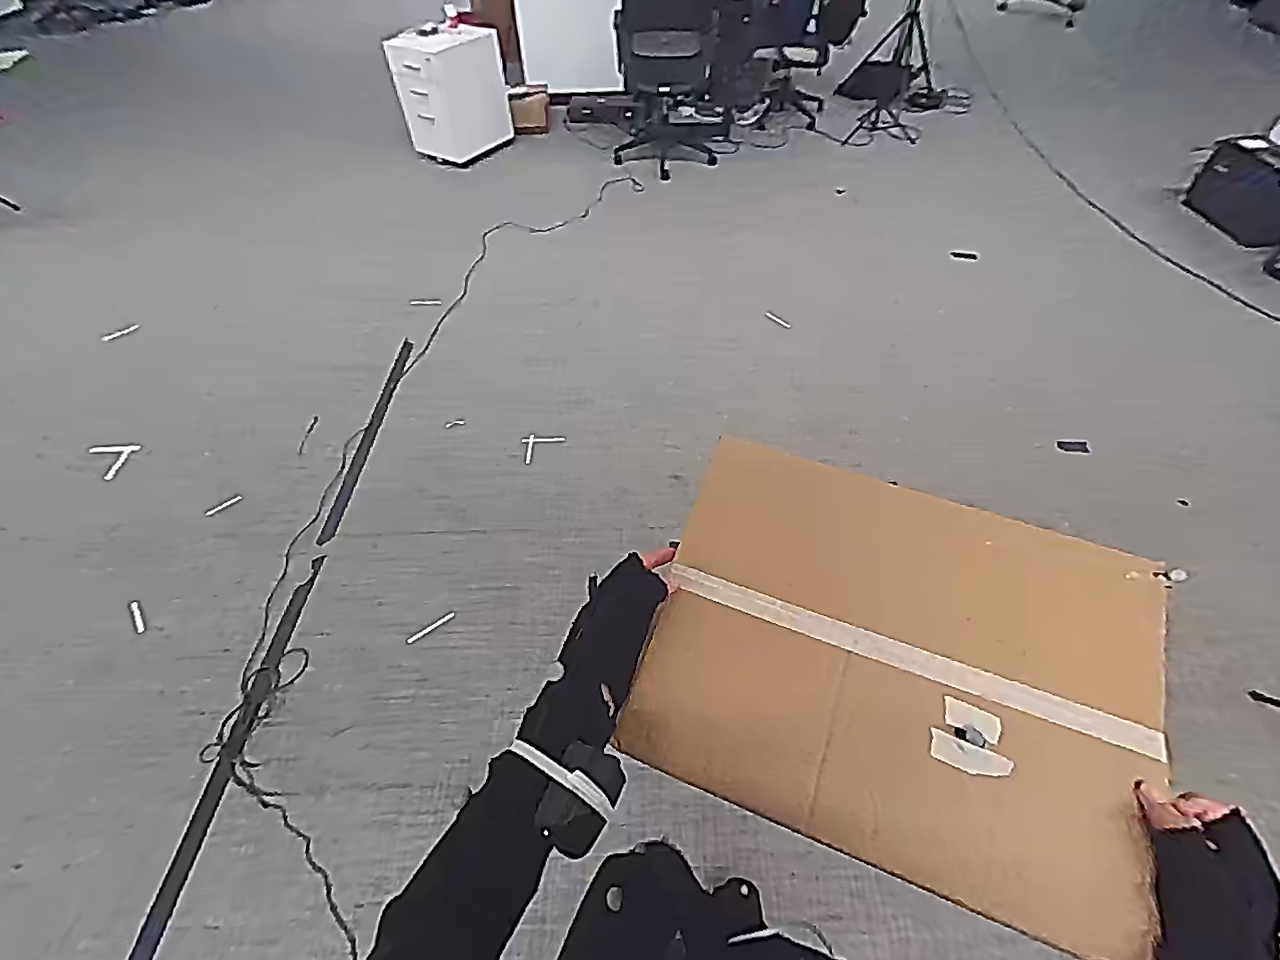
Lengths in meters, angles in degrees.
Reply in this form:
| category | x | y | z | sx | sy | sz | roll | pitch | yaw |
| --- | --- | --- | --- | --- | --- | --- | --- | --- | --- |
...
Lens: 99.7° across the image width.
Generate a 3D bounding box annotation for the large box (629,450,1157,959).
| category | x | y | z | sx | sy | sz | roll | pitch | yaw |
| --- | --- | --- | --- | --- | --- | --- | --- | --- | --- |
| large box | 0.234 | 0.215 | 0.609 | 0.408 | 0.320 | 0.320 | 18 | 69 | 13 |
